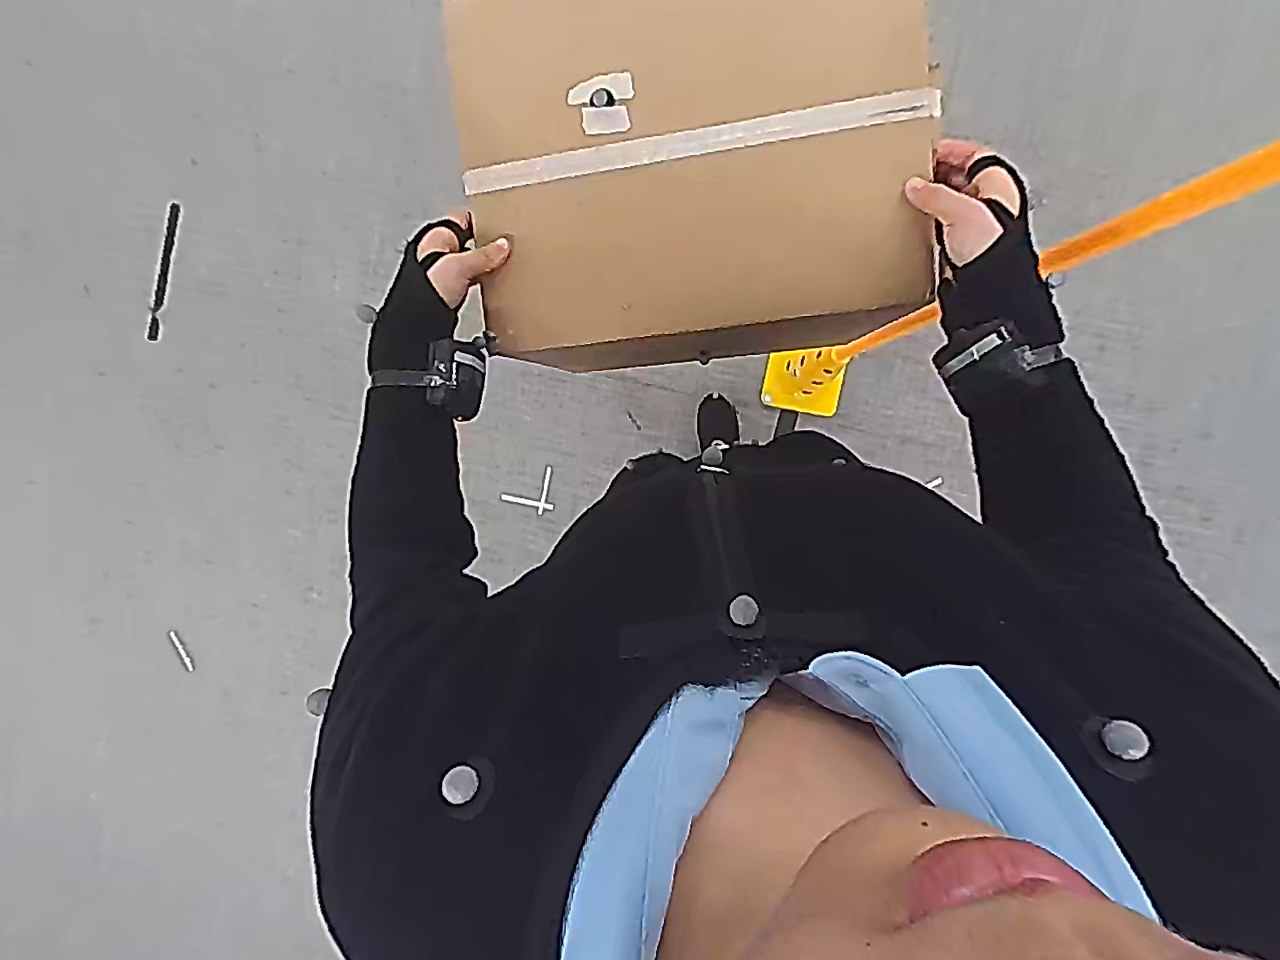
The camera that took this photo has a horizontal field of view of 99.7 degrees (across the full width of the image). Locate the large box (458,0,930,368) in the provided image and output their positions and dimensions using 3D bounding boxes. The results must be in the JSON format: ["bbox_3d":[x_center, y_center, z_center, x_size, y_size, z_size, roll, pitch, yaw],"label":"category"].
[{"bbox_3d":[0.065,-0.316,0.629,0.408,0.320,0.320,-5,96,10],"label":"large box"}]
